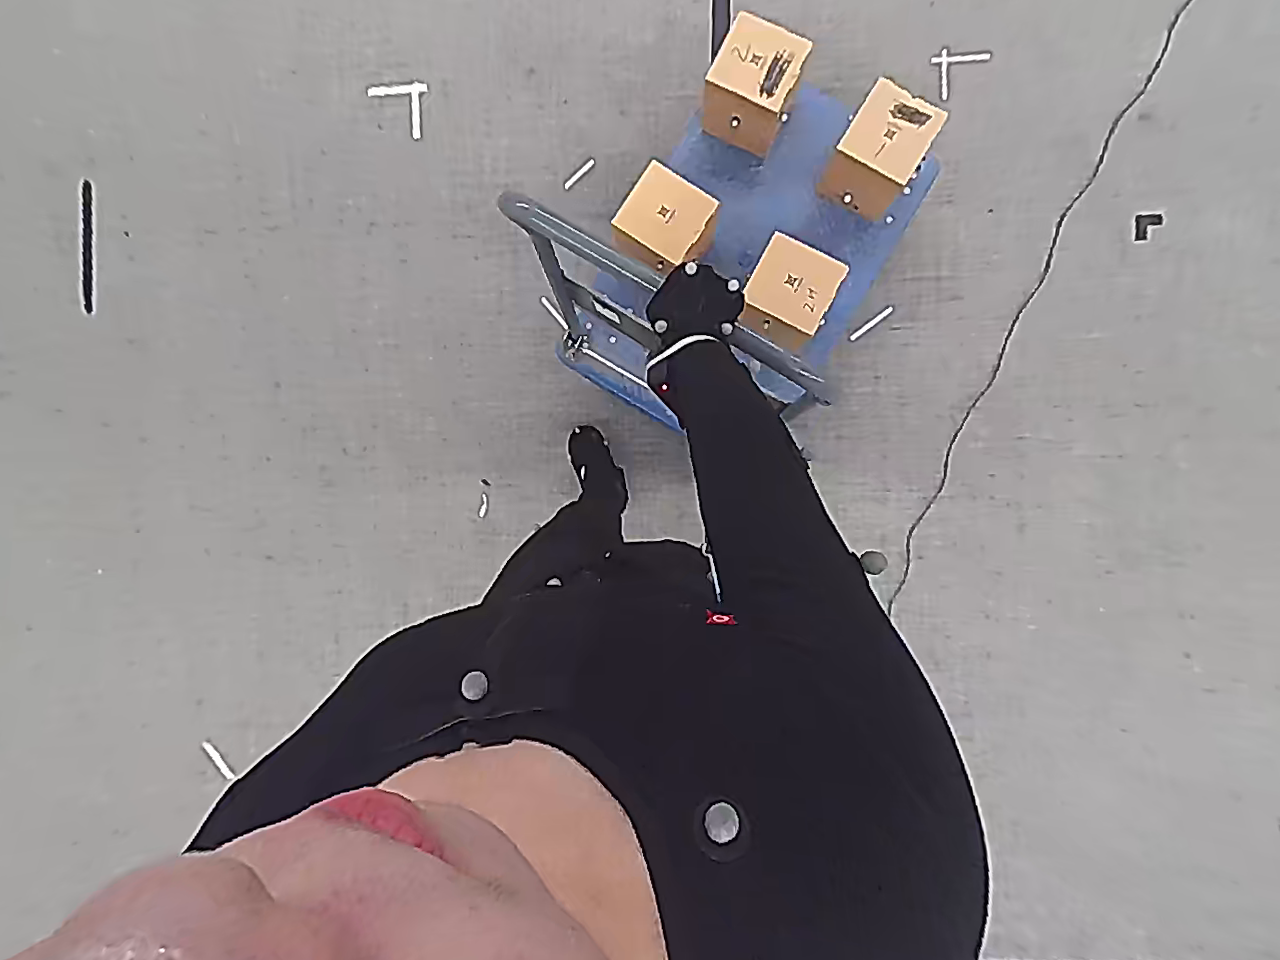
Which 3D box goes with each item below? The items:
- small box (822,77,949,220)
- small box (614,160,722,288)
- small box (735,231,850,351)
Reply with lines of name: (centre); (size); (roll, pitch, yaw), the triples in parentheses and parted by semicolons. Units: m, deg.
small box: (0.532, -0.725, 1.202); (0.168, 0.176, 0.179); (32, 92, 3)
small box: (0.062, -0.568, 1.227); (0.179, 0.176, 0.168); (34, 91, 2)
small box: (0.329, -0.411, 1.208); (0.179, 0.176, 0.168); (29, 91, 4)
